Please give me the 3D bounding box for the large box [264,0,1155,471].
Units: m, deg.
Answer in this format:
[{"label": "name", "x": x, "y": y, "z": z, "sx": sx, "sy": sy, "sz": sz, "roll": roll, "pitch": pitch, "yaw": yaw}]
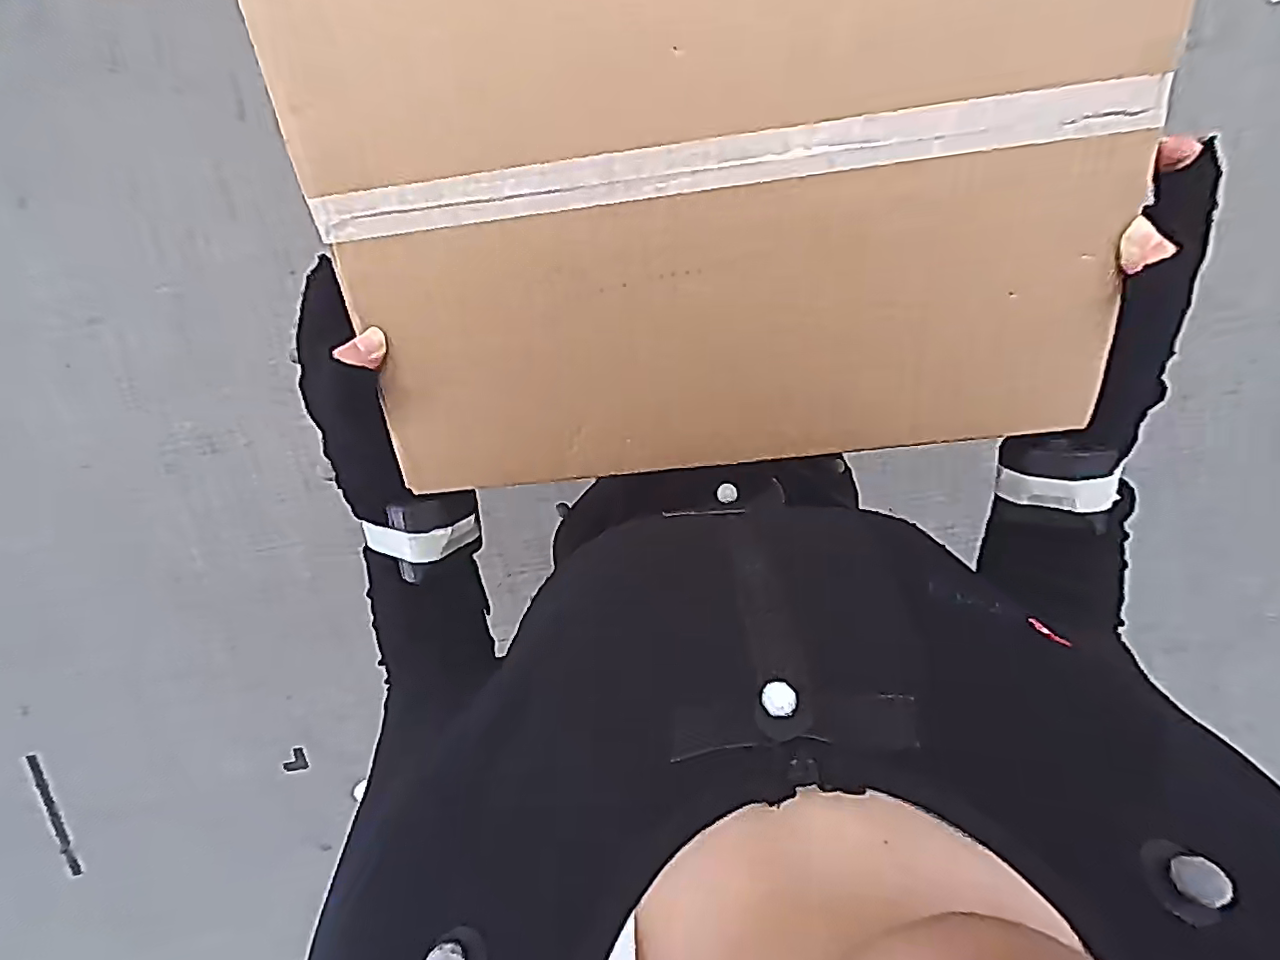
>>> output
[{"label": "large box", "x": 0.036, "y": -0.226, "z": 0.404, "sx": 0.408, "sy": 0.320, "sz": 0.320, "roll": -6, "pitch": 116, "yaw": 4}]
